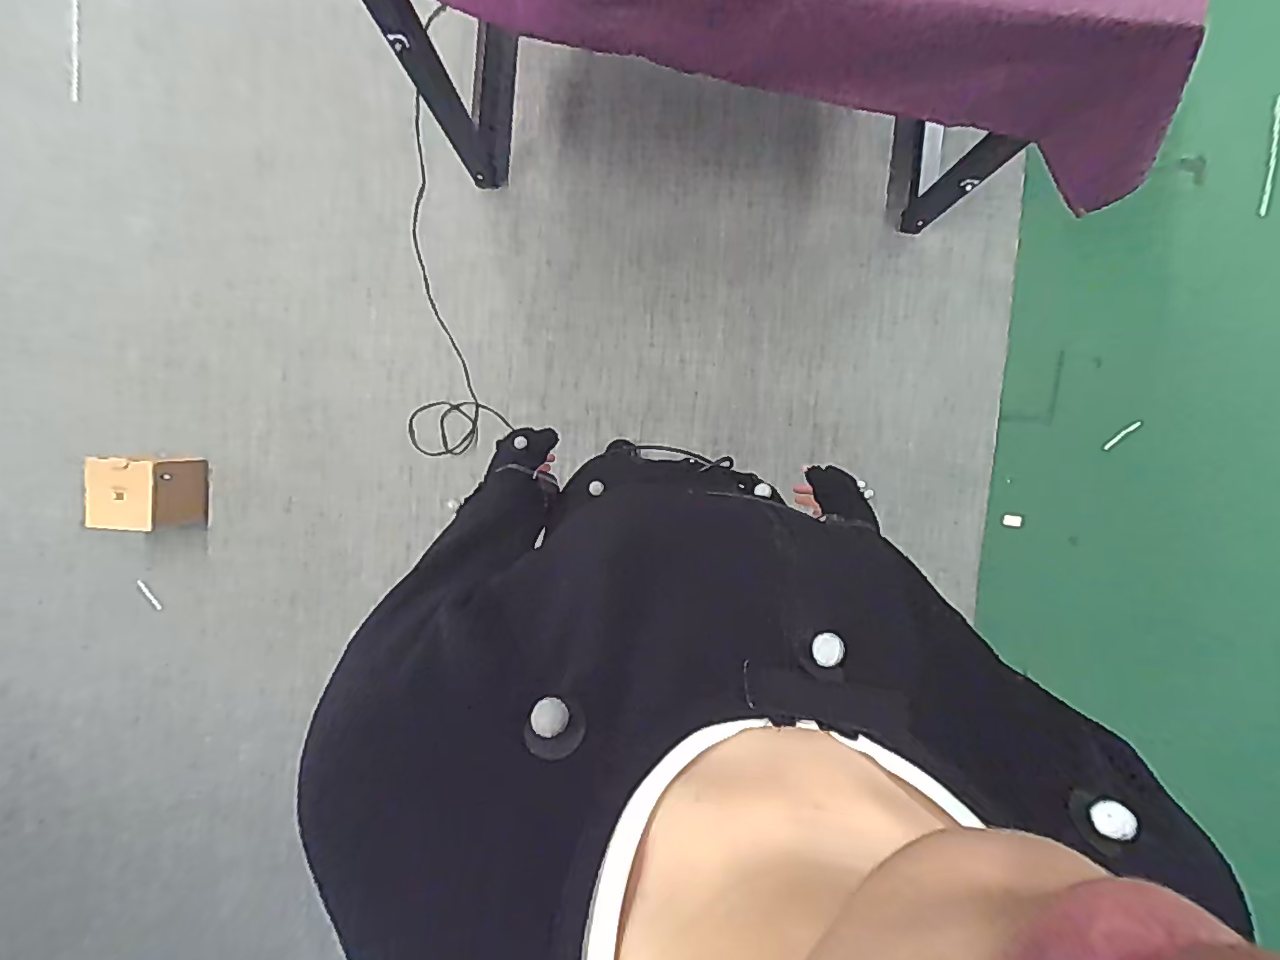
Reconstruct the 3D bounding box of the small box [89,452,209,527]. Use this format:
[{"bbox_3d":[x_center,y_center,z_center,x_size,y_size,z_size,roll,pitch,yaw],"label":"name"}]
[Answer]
[{"bbox_3d":[-1.263,0.020,1.401,0.168,0.176,0.179,4,93,0],"label":"small box"}]
